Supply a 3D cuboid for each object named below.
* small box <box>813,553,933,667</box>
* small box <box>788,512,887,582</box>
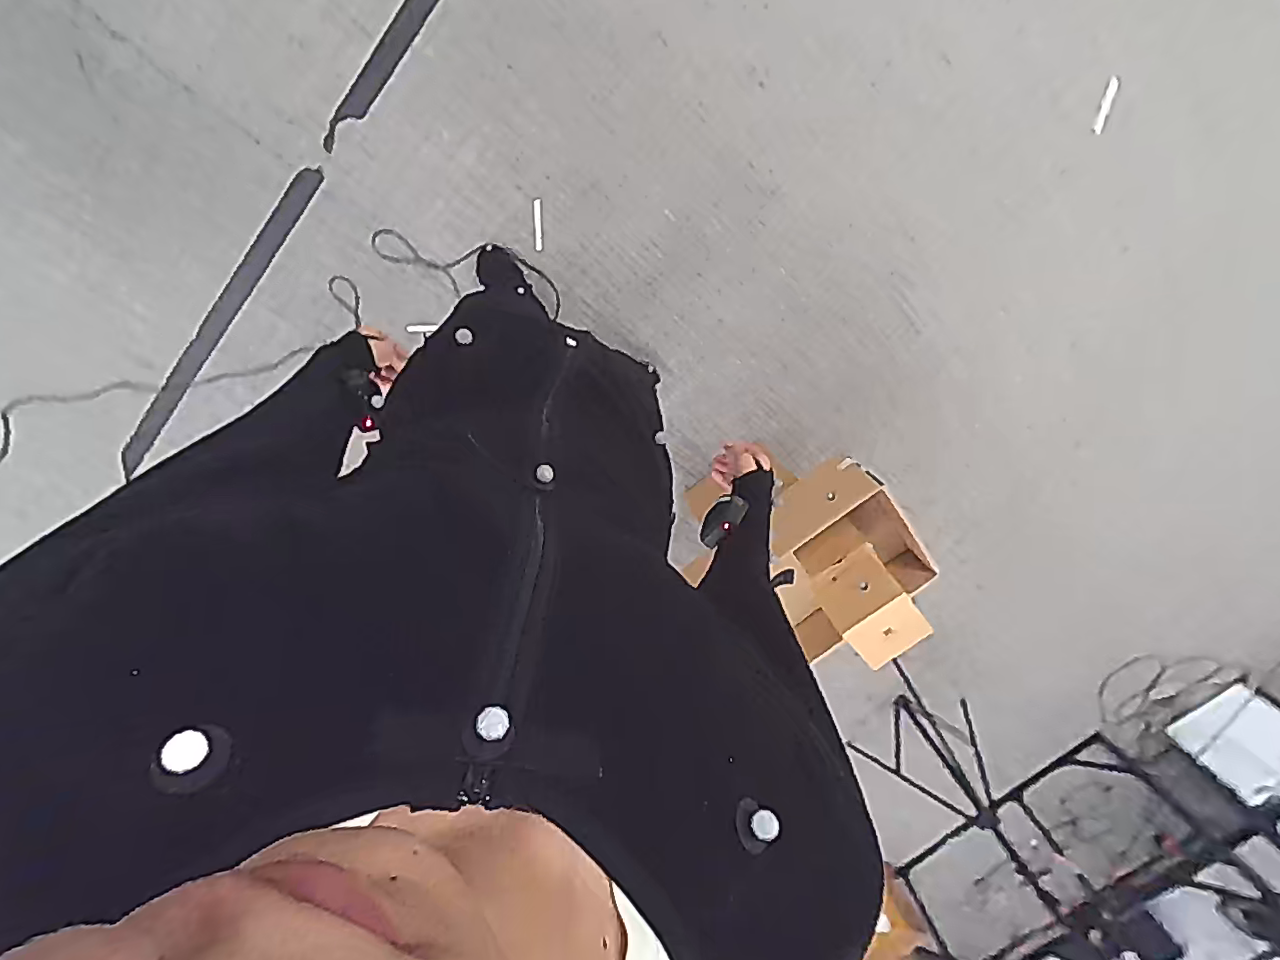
[{"bbox_3d":[0.541,0.298,1.277,0.168,0.176,0.179,-39,119,12],"label":"small box"},{"bbox_3d":[0.516,0.206,1.410,0.168,0.176,0.179,-35,120,10],"label":"small box"}]
